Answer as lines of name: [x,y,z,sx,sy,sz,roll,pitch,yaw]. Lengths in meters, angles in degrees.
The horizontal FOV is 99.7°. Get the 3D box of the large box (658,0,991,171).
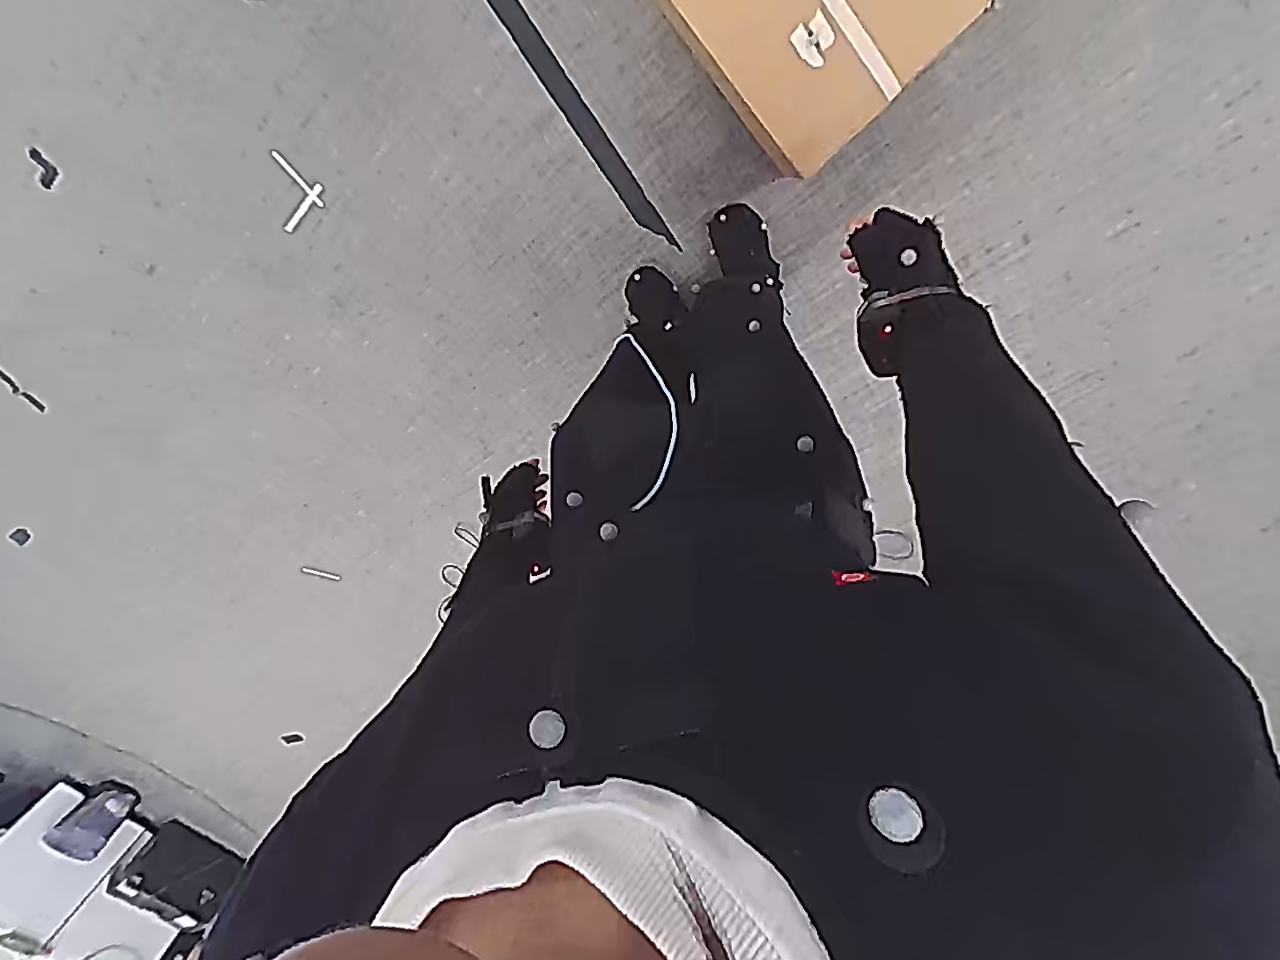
large box: [0.254,-0.774,0.857,0.320,0.320,0.408,-38,109,27]
